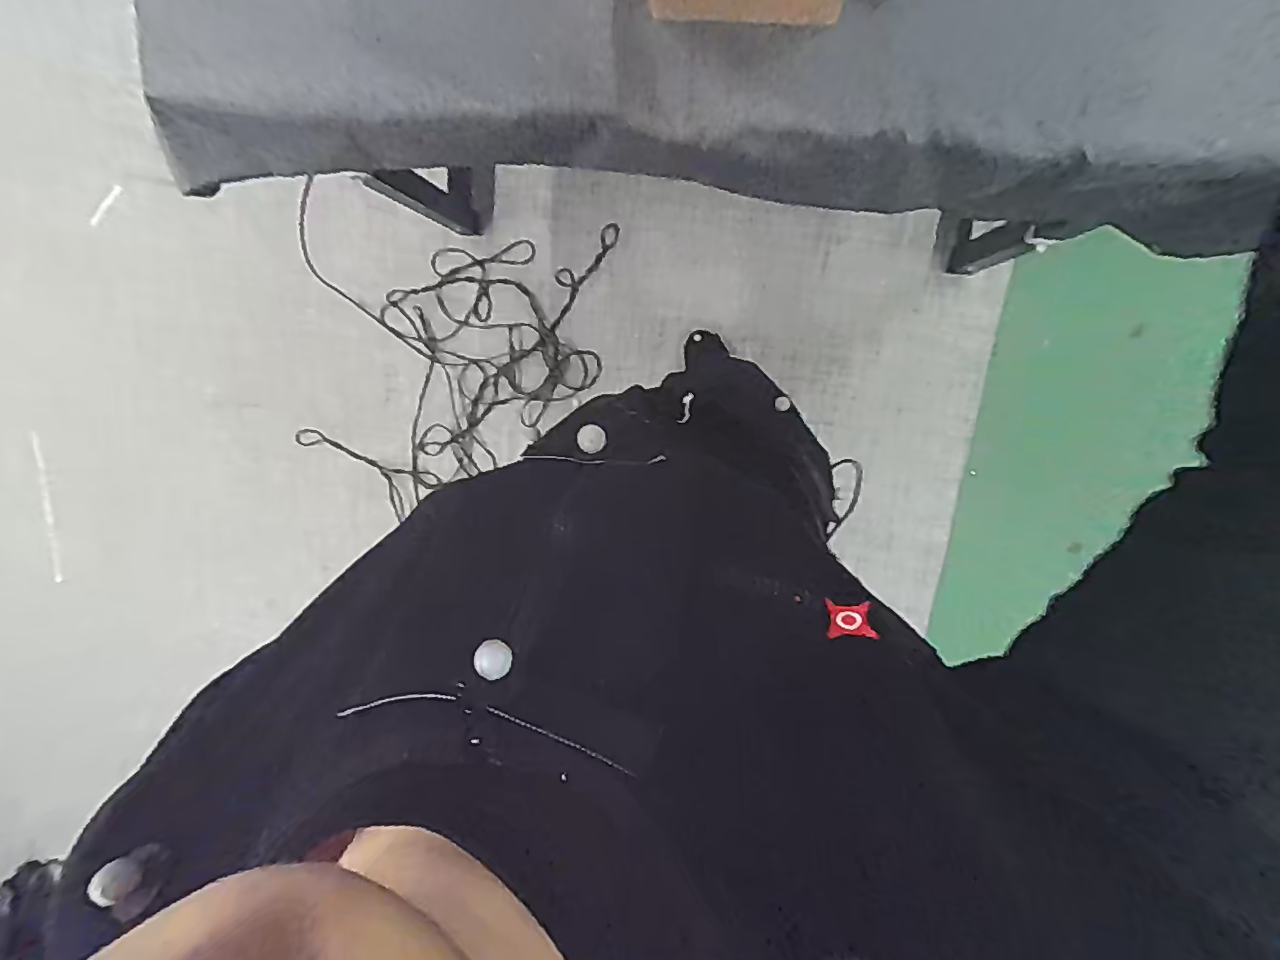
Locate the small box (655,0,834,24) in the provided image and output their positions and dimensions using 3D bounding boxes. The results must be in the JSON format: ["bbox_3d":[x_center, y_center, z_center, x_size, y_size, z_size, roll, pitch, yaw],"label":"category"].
[{"bbox_3d":[0.097,-0.499,0.421,0.179,0.176,0.168,7,101,7],"label":"small box"}]
